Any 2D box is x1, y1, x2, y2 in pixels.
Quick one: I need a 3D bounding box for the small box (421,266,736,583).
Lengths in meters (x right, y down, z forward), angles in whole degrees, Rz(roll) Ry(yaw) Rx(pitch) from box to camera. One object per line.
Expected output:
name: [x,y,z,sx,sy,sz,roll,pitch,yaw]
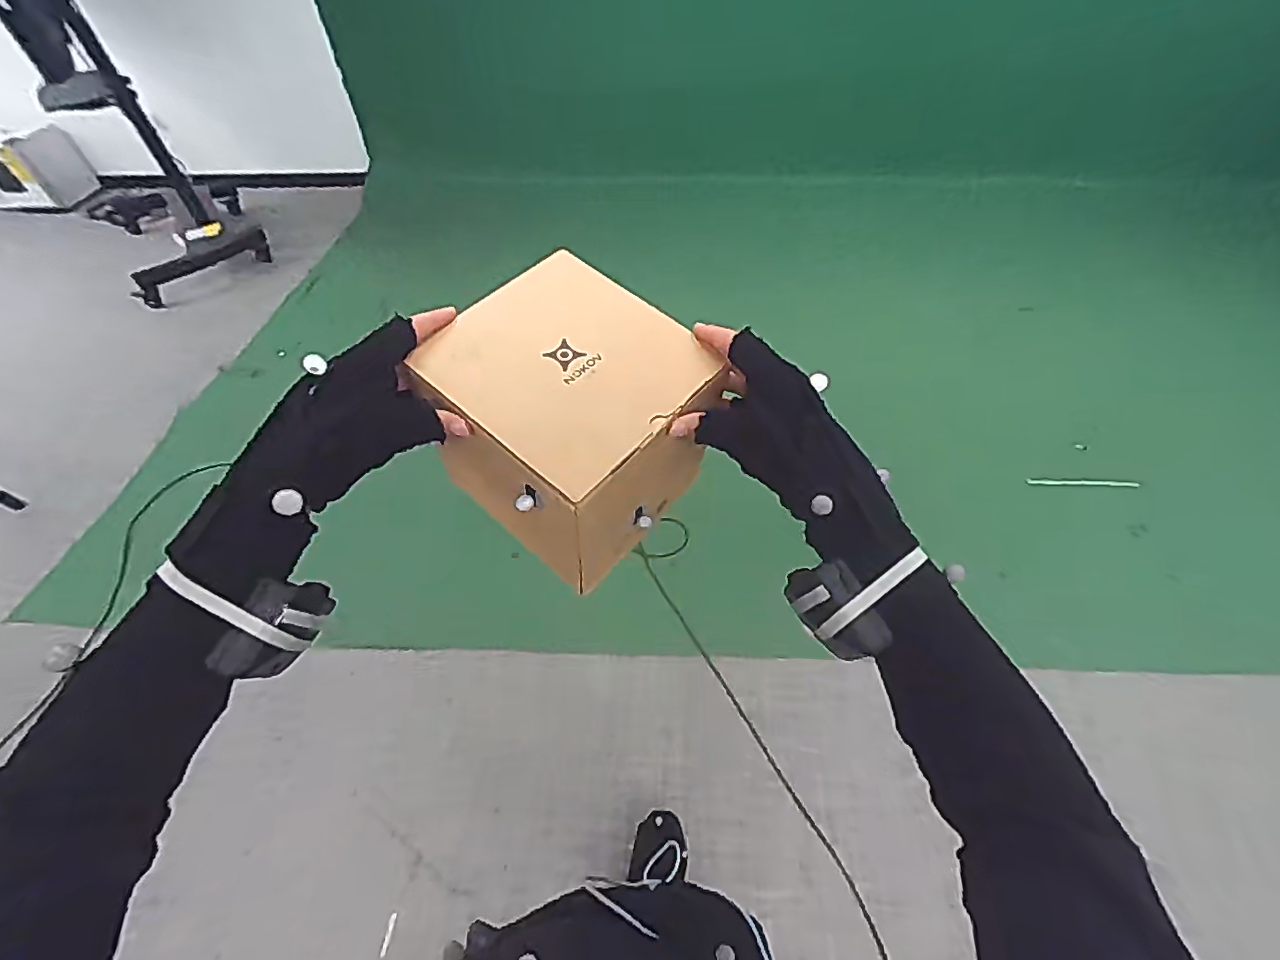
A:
small box: [-0.050,-0.041,0.466,0.179,0.176,0.168,38,64,16]
